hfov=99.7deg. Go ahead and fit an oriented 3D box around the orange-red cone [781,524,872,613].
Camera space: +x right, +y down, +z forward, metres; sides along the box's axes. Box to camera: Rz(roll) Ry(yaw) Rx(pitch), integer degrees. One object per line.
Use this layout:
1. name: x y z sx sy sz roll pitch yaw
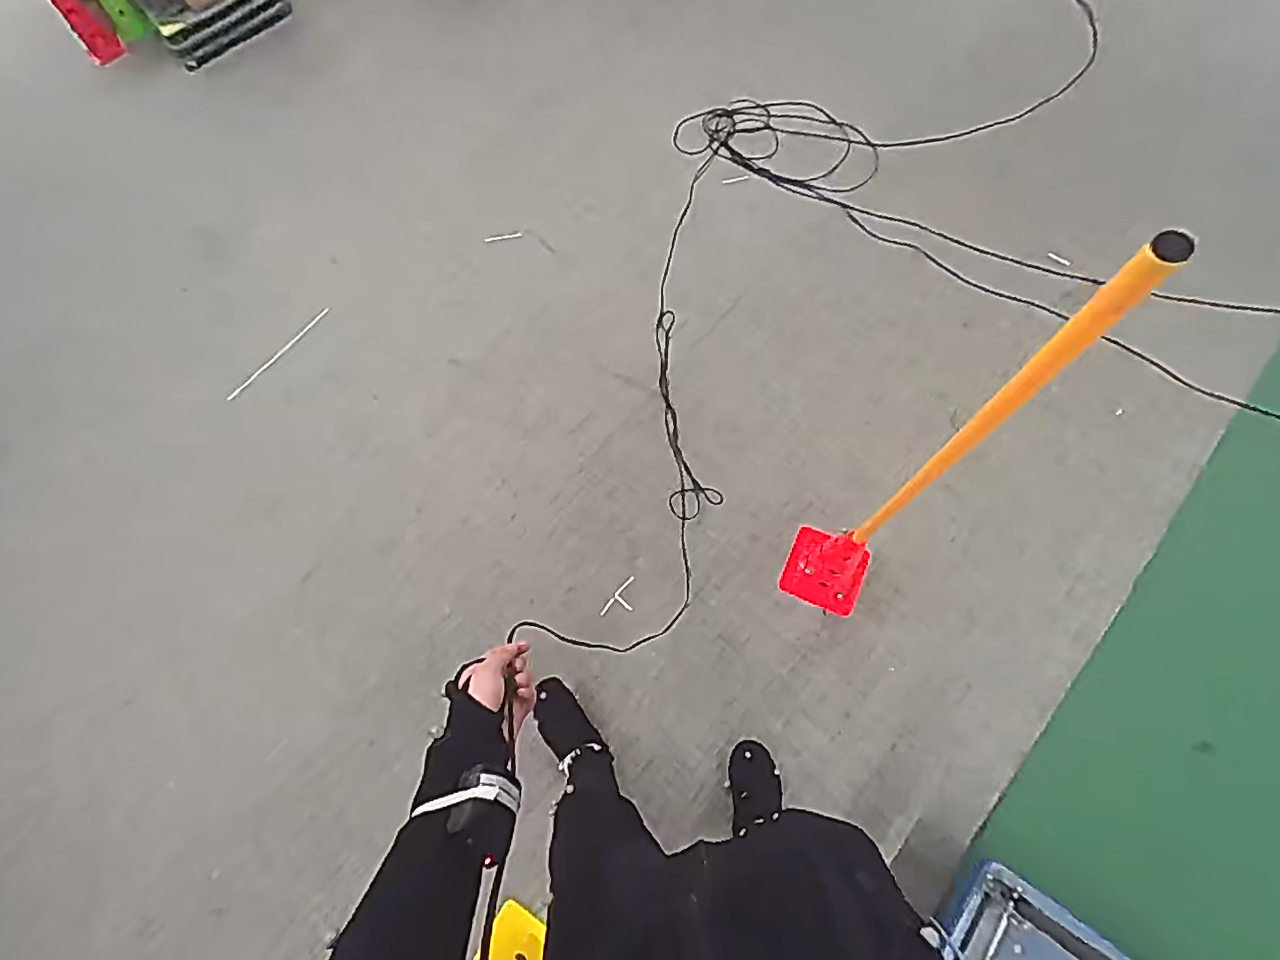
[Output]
1. orange-red cone: 0.482 0.174 1.296 0.198 0.360 0.199 23 73 14
